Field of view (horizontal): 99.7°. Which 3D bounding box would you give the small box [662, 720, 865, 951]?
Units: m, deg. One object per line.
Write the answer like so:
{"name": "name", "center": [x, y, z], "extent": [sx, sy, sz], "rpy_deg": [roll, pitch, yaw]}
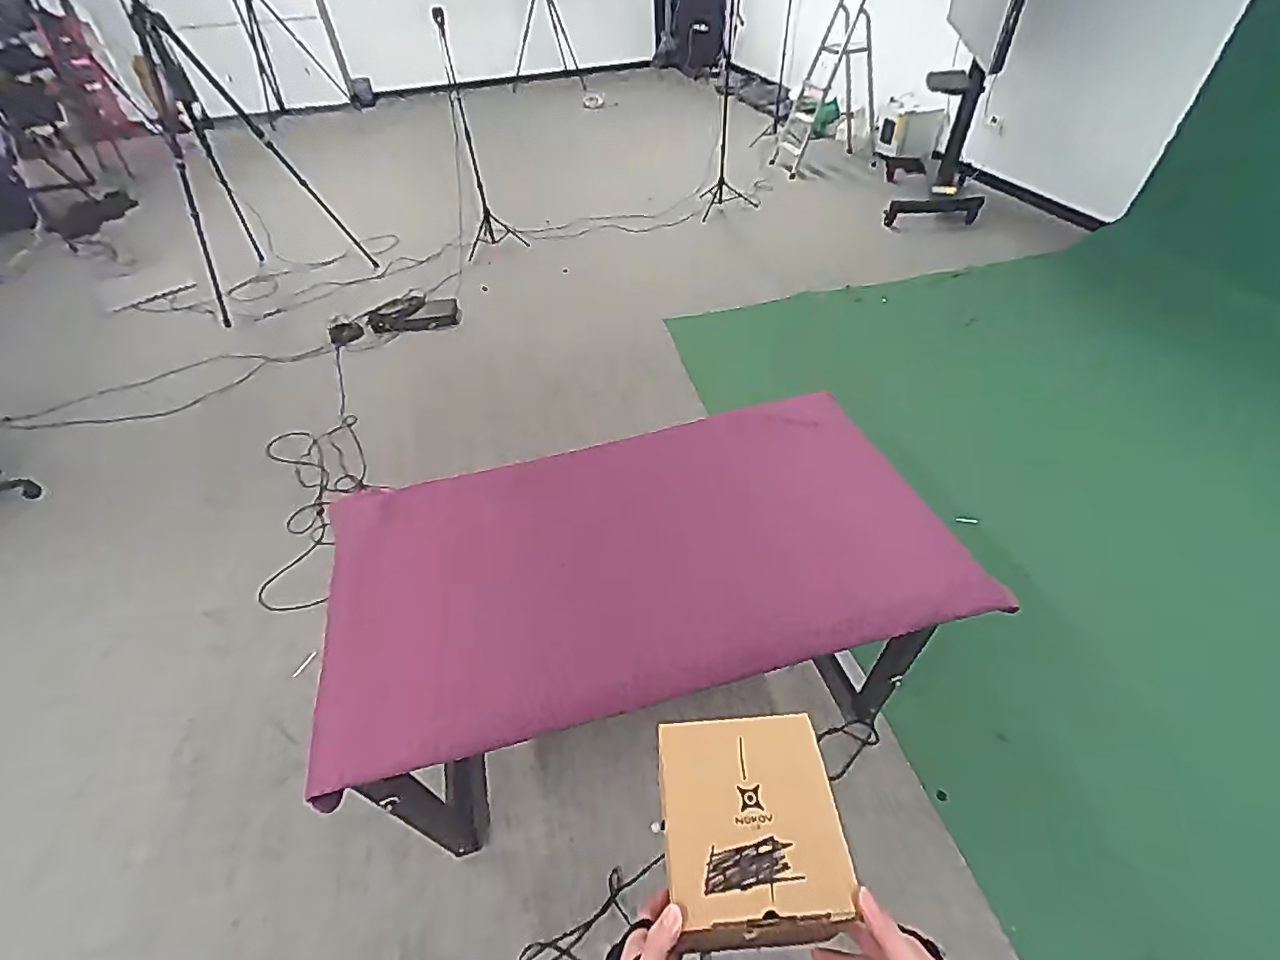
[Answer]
{"name": "small box", "center": [0.112, 0.381, 0.578], "extent": [0.168, 0.176, 0.179], "rpy_deg": [-3, 43, -2]}
